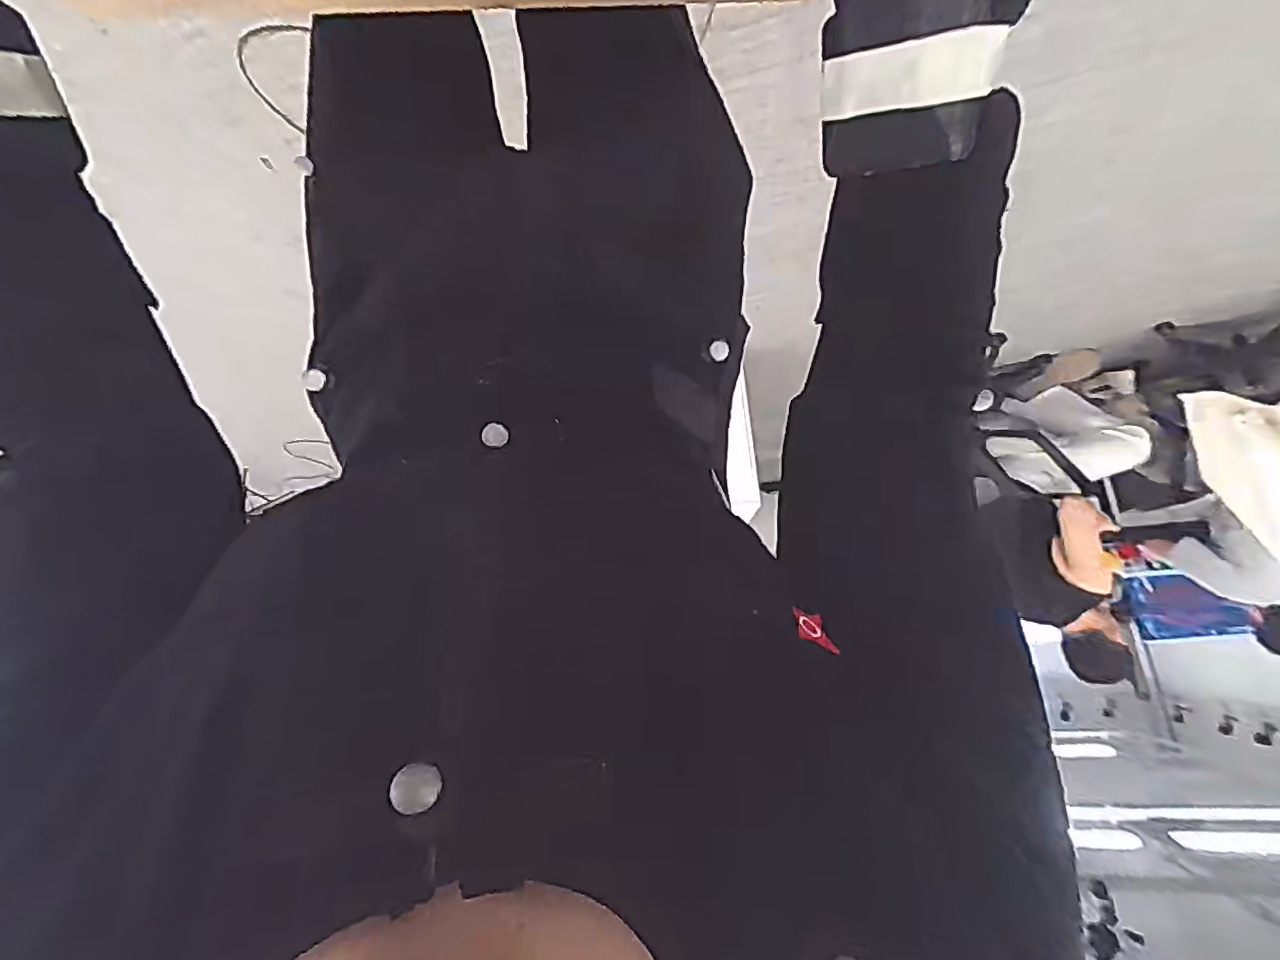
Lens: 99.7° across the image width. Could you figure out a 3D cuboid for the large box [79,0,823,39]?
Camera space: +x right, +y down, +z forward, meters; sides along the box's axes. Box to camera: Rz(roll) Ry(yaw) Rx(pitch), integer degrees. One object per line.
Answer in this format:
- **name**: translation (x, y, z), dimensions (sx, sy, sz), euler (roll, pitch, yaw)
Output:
- **large box**: translation (-0.097, -0.403, 0.152), dimensions (0.408, 0.320, 0.320), euler (-4, -176, -2)
